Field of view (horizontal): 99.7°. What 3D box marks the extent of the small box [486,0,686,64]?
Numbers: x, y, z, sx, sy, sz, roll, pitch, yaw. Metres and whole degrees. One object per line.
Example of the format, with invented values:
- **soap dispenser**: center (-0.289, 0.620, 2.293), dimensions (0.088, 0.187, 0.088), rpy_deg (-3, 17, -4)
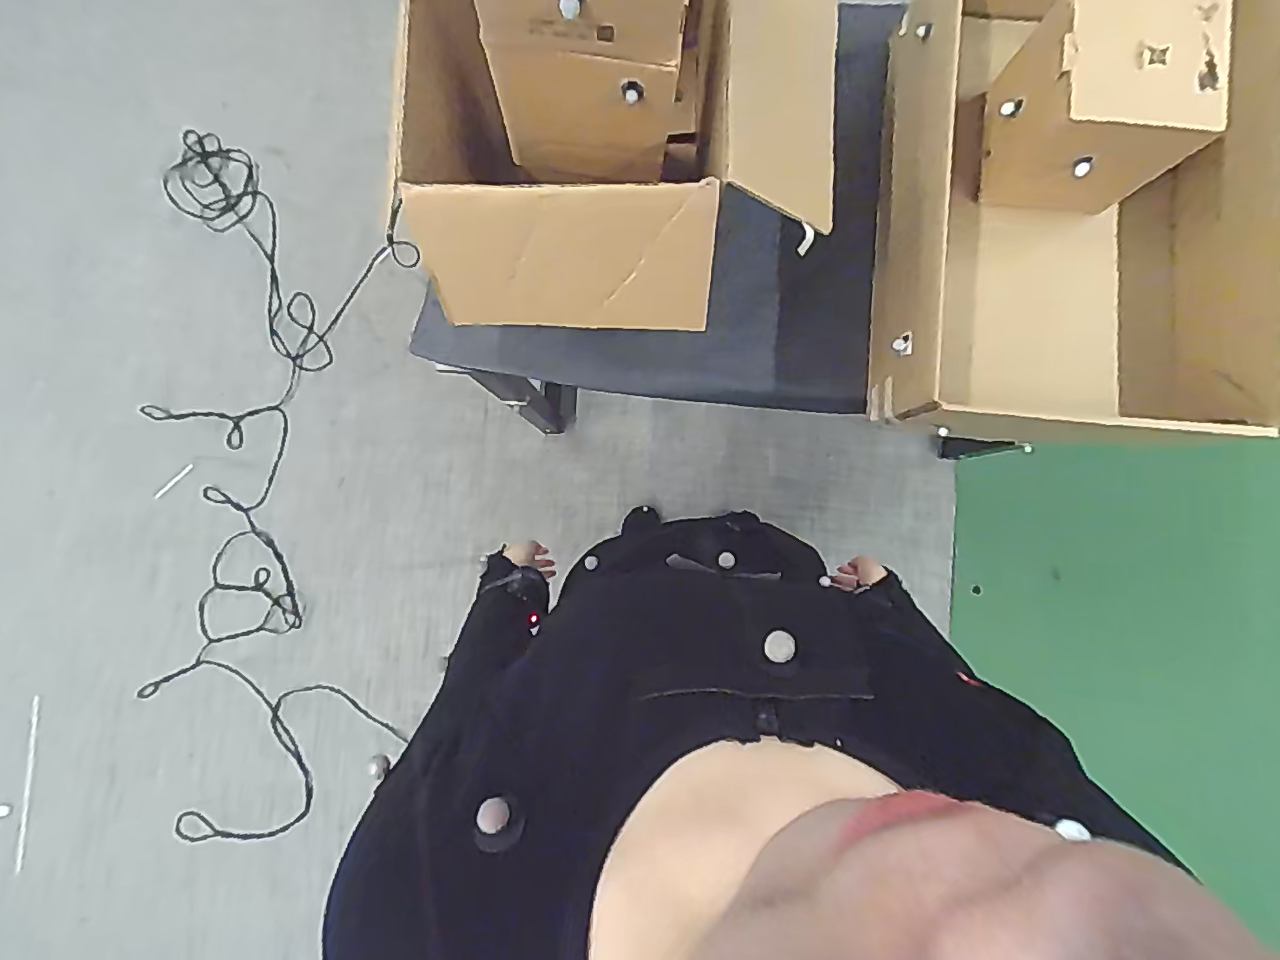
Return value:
- **small box**: center (-0.039, -0.460, 0.393), dimensions (0.168, 0.176, 0.179), rpy_deg (3, 86, -4)
